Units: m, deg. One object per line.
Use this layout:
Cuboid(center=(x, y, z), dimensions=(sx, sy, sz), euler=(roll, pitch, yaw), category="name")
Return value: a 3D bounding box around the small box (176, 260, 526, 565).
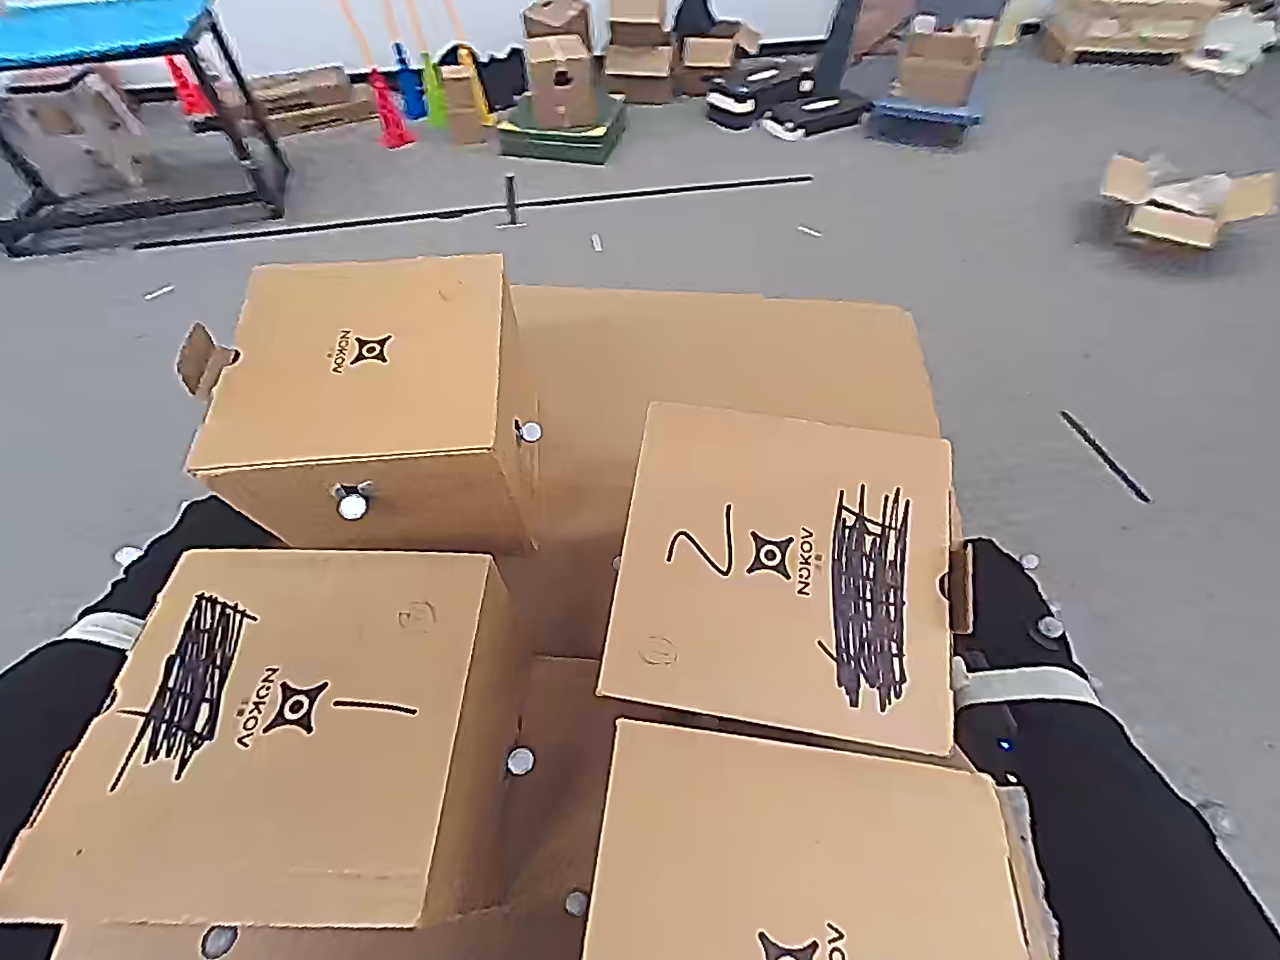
Cuboid(center=(-0.187, -0.043, 0.420), dimensions=(0.179, 0.176, 0.168), euler=(-5, 61, -3), category="small box")
